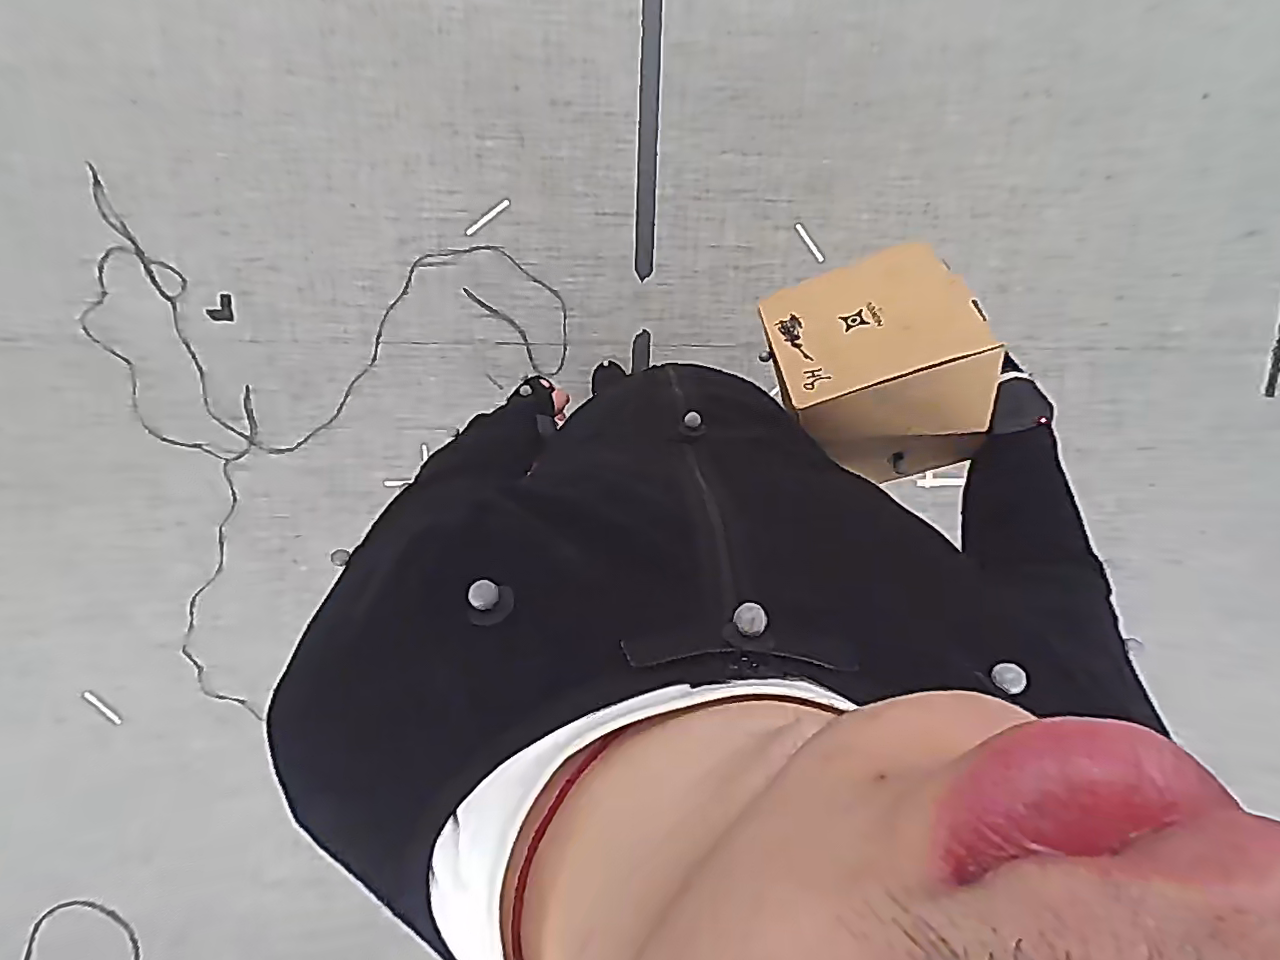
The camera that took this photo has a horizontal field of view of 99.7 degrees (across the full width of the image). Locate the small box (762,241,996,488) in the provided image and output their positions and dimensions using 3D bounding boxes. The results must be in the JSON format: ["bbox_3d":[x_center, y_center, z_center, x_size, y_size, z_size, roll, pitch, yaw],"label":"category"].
[{"bbox_3d":[0.247,-0.116,0.591,0.179,0.168,0.176,-17,142,14],"label":"small box"}]
